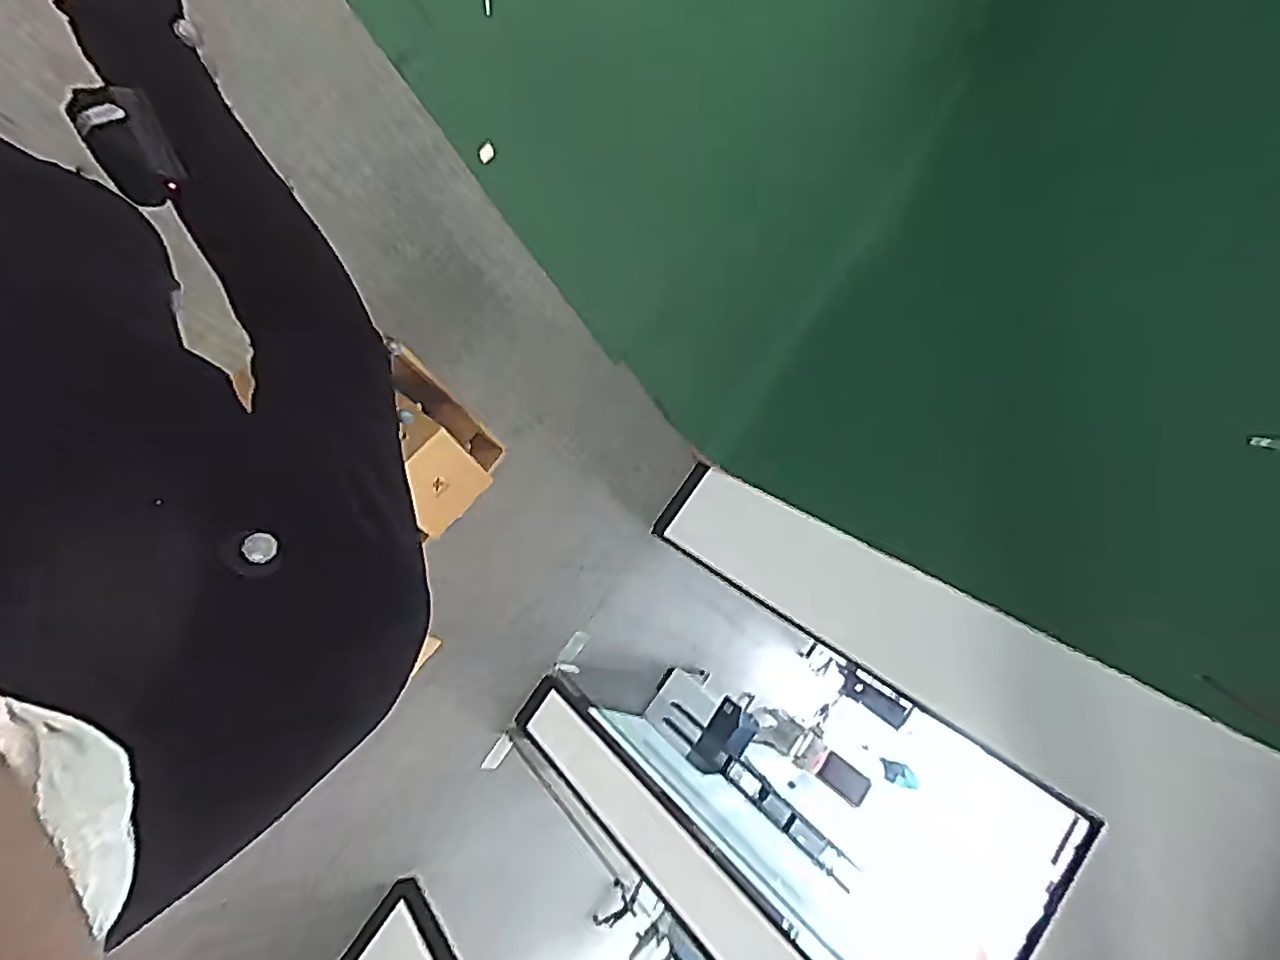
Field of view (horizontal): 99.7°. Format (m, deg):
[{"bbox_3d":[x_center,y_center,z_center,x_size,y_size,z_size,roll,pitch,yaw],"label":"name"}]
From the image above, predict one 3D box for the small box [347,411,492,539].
[{"bbox_3d":[-0.441,-0.017,1.080,0.168,0.176,0.179,-49,142,-14],"label":"small box"}]
